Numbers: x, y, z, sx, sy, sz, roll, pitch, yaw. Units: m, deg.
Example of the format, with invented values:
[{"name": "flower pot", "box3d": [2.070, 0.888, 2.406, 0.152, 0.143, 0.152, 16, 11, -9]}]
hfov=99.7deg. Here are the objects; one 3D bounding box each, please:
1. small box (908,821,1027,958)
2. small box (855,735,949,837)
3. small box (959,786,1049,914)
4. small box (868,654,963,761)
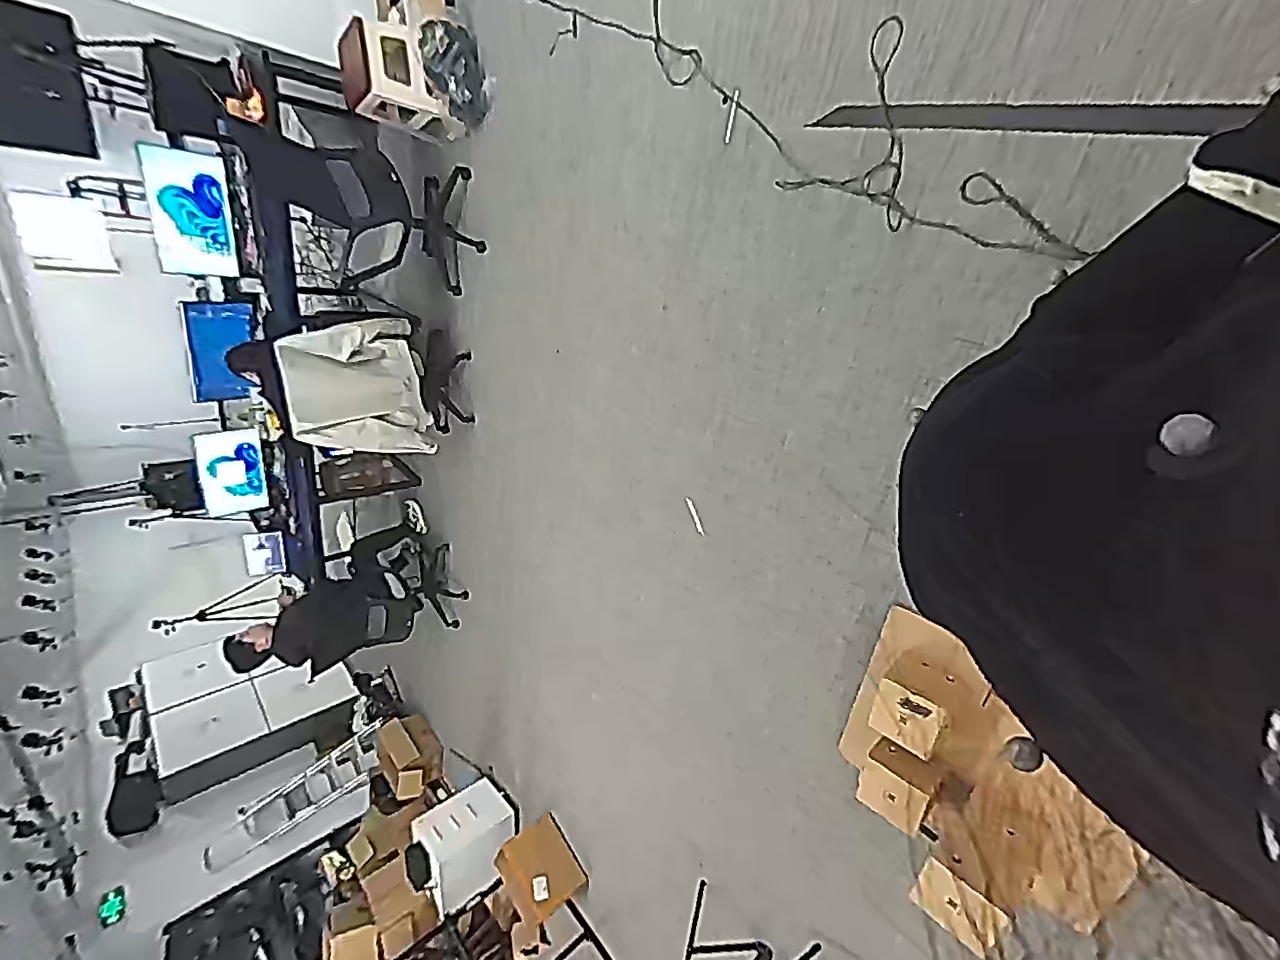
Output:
[{"name": "small box", "box3d": [0.786, 0.965, 1.300, 0.179, 0.176, 0.168, 28, 121, 39]}, {"name": "small box", "box3d": [0.753, 0.861, 1.556, 0.179, 0.176, 0.168, 23, 118, 40]}, {"name": "small box", "box3d": [0.920, 0.943, 1.396, 0.179, 0.176, 0.168, 23, 117, 40]}, {"name": "small box", "box3d": [0.756, 0.610, 1.479, 0.168, 0.176, 0.179, 25, 118, 40]}]
